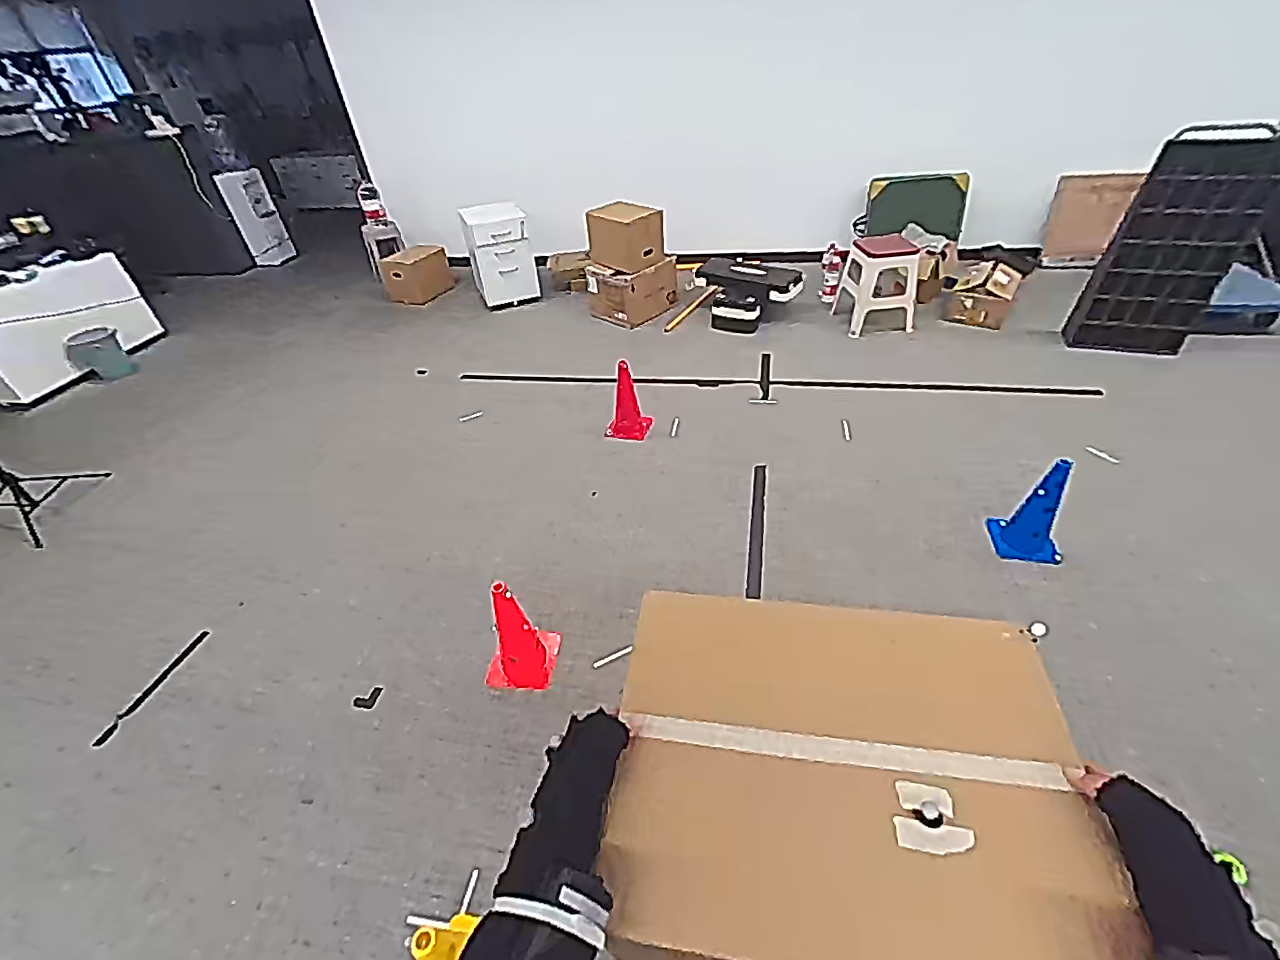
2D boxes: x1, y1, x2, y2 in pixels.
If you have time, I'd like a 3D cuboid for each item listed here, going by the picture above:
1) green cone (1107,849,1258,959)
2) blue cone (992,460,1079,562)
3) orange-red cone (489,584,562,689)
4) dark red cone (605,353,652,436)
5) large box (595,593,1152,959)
[{"bbox_3d":[1.009,0.779,1.008,0.202,0.368,0.200,-20,42,-19],"label":"green cone"},{"bbox_3d":[1.368,0.089,1.830,0.192,0.380,0.193,7,41,13],"label":"blue cone"},{"bbox_3d":[-0.372,0.434,1.591,0.198,0.360,0.199,1,41,10],"label":"orange-red cone"},{"bbox_3d":[-0.063,-0.406,2.535,0.201,0.394,0.202,8,42,15],"label":"dark red cone"},{"bbox_3d":[0.190,0.353,0.596,0.408,0.320,0.320,3,44,10],"label":"large box"}]
